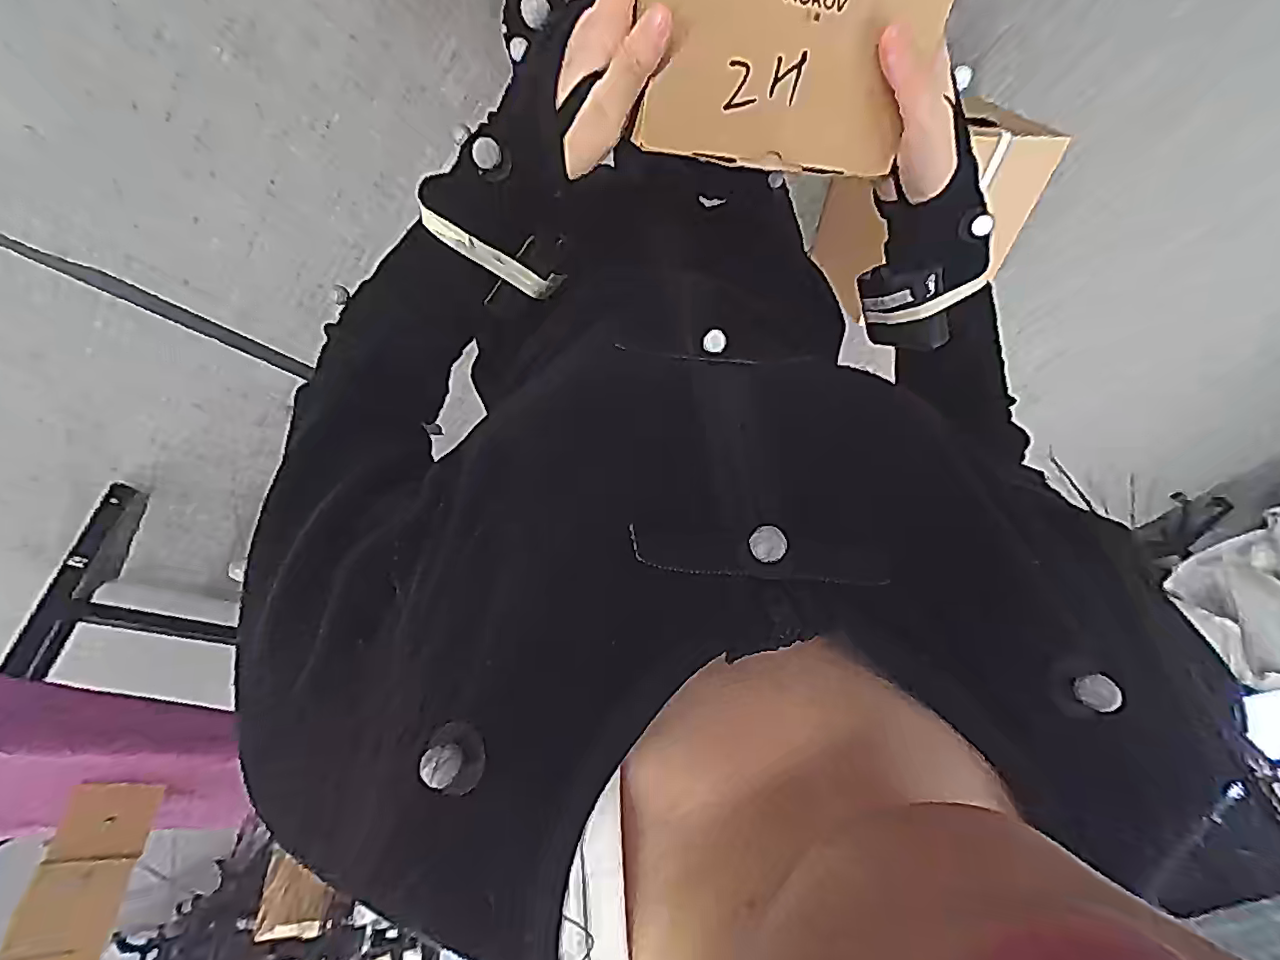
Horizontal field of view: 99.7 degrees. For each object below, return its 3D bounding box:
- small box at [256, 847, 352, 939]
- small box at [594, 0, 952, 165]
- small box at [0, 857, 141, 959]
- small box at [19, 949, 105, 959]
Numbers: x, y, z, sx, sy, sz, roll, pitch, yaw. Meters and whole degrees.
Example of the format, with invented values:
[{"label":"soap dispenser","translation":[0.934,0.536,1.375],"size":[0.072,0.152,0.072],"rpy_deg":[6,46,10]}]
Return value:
[{"label":"small box","translation":[-0.921,1.135,1.494],"size":[0.168,0.176,0.179],"rpy_deg":[25,124,-37]},{"label":"small box","translation":[0.071,-0.313,0.326],"size":[0.168,0.176,0.179],"rpy_deg":[-3,130,-16]},{"label":"small box","translation":[-1.274,0.967,1.210],"size":[0.179,0.176,0.168],"rpy_deg":[22,128,-34]},{"label":"small box","translation":[-1.248,1.090,1.107],"size":[0.179,0.176,0.168],"rpy_deg":[22,127,-34]}]
